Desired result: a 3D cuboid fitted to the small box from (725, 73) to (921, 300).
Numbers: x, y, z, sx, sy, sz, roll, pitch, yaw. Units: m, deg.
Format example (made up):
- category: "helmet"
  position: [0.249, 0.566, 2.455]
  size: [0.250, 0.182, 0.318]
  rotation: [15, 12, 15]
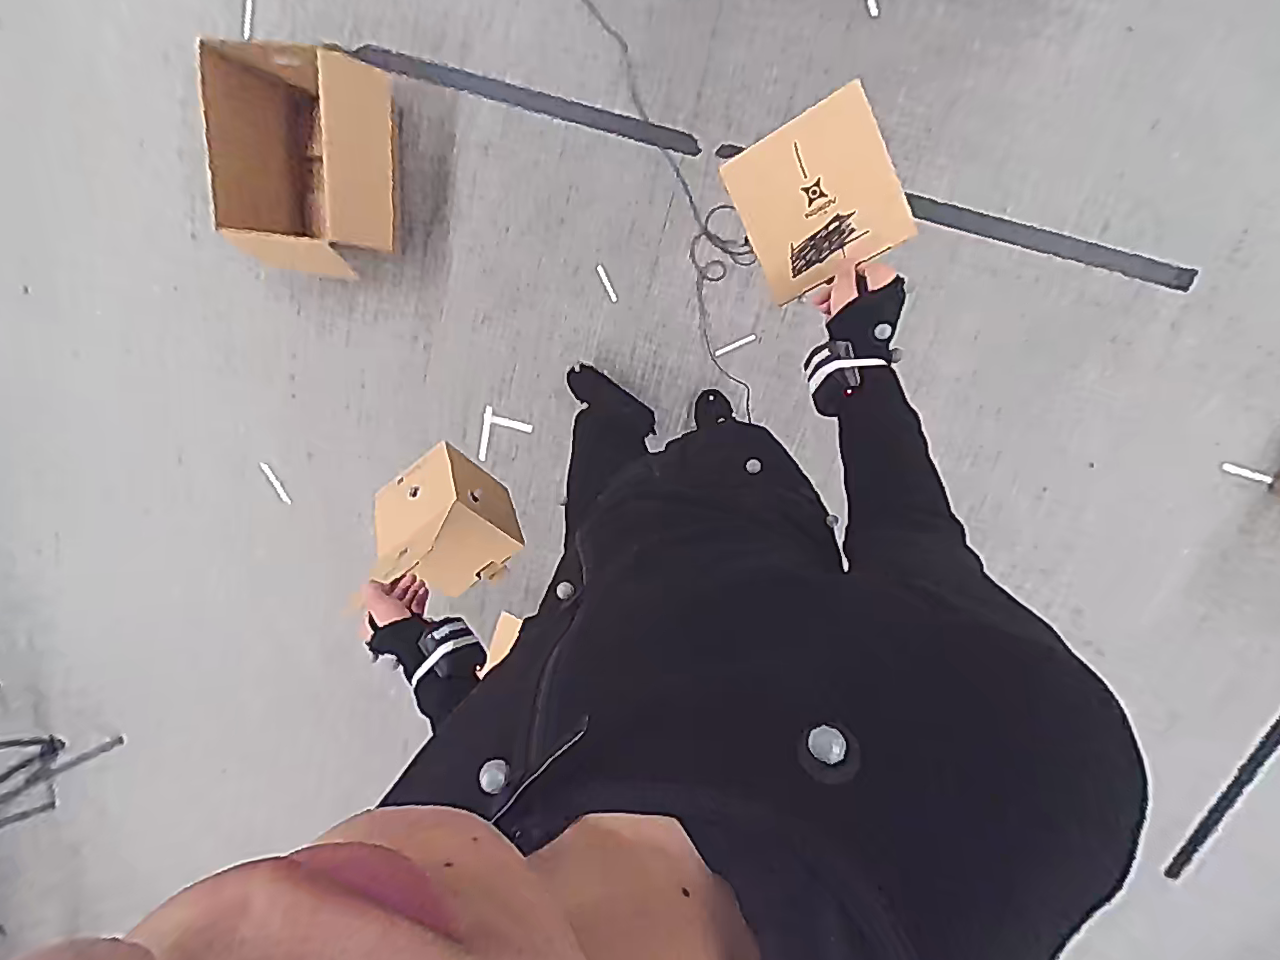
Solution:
- category: "small box"
  position: [0.222, -0.345, 0.675]
  size: [0.168, 0.176, 0.179]
  rotation: [-23, 101, 20]
